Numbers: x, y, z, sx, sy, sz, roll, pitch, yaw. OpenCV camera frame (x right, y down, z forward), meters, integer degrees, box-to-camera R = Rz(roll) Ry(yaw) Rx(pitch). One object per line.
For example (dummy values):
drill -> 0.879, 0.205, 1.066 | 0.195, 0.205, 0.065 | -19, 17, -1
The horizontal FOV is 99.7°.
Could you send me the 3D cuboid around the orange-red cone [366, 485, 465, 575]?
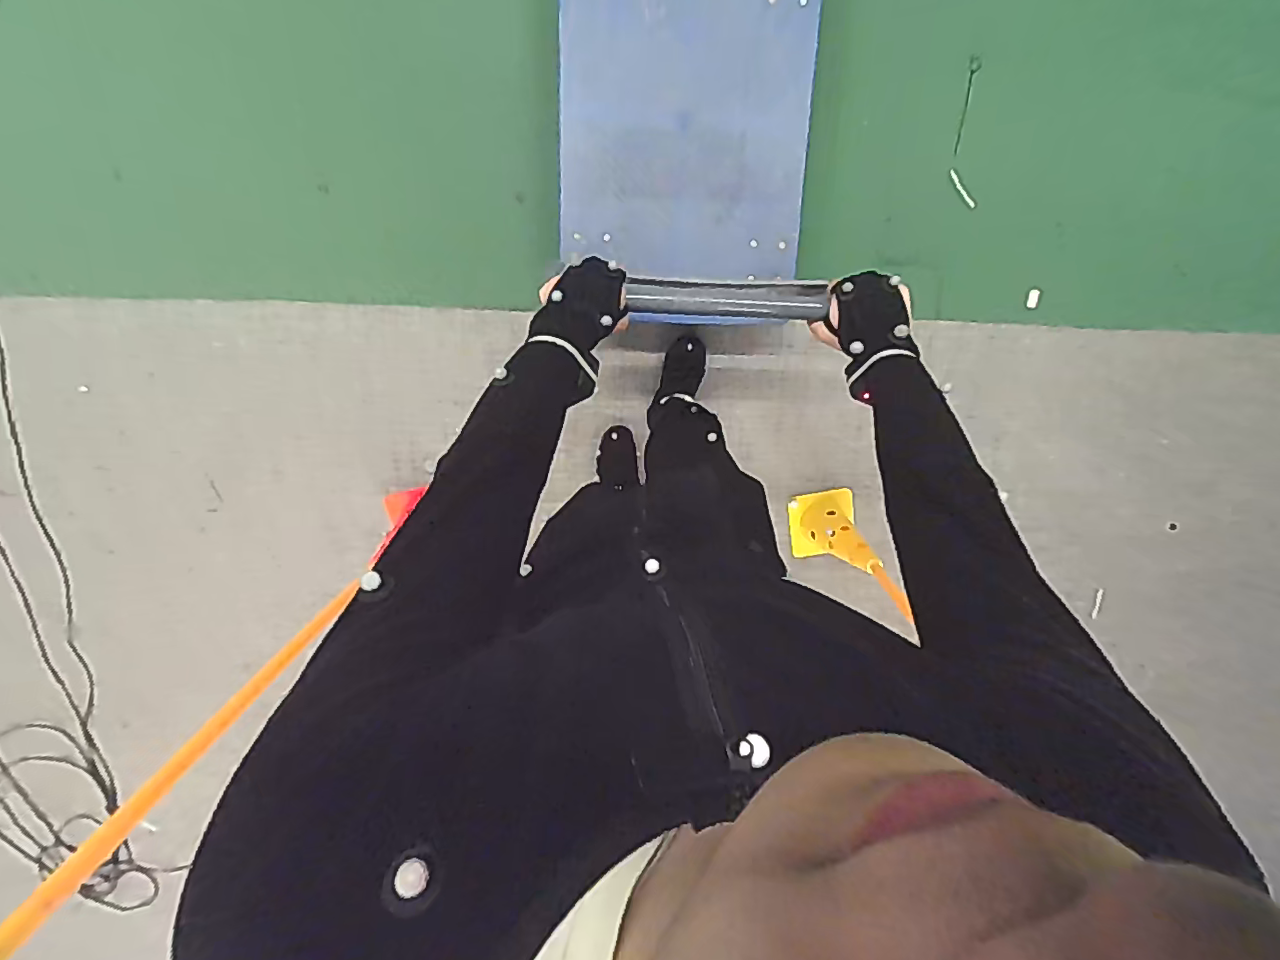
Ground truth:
orange-red cone -> -0.619, 0.162, 1.410 | 0.199, 0.360, 0.198 | -13, 103, 1
